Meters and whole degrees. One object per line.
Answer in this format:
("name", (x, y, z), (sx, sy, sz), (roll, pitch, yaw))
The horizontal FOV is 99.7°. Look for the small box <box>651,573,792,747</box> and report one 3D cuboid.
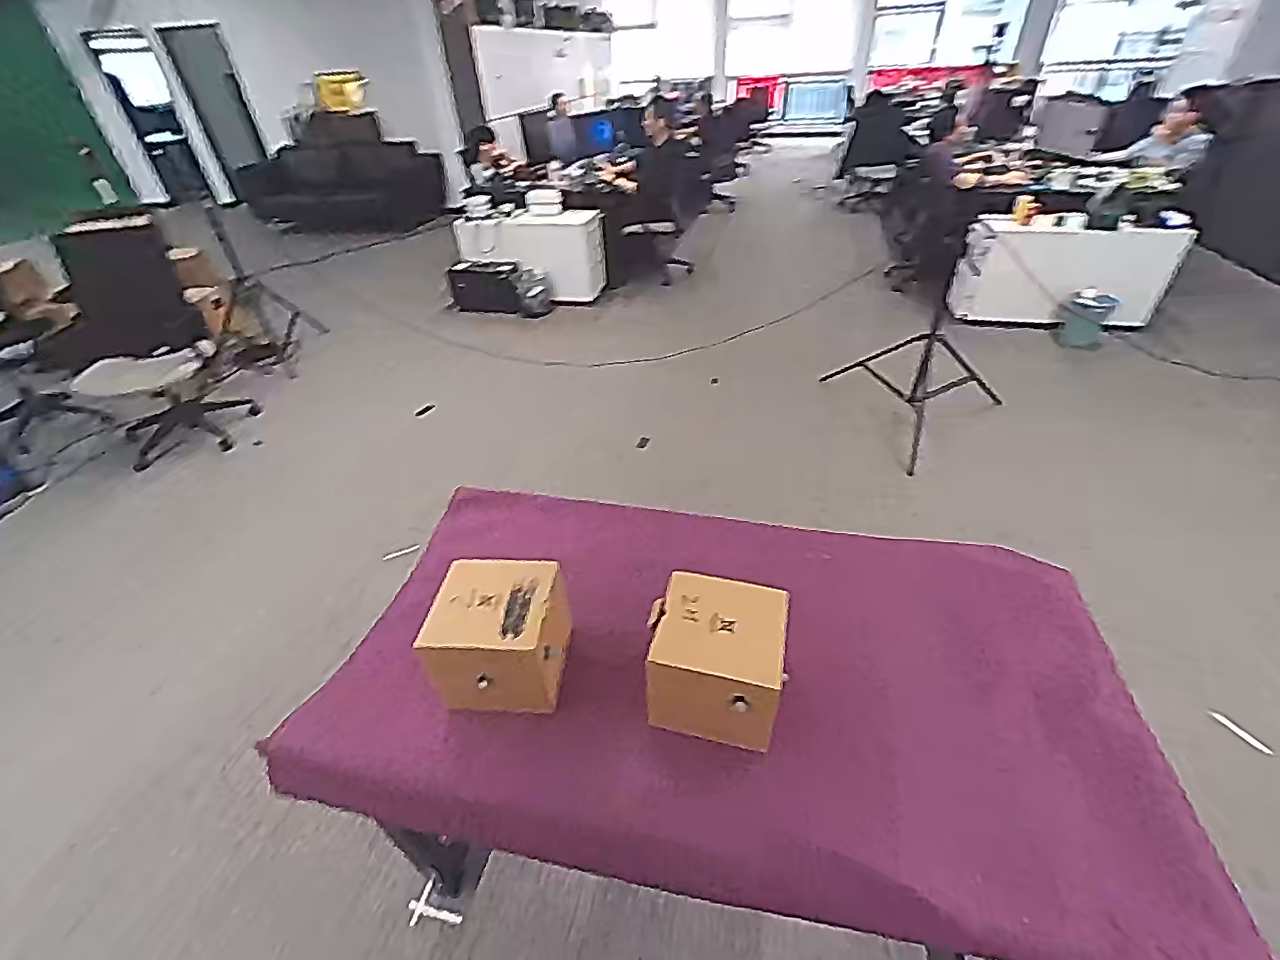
("small box", (0.122, 0.267, 0.802), (0.179, 0.176, 0.168), (7, 38, 14))
